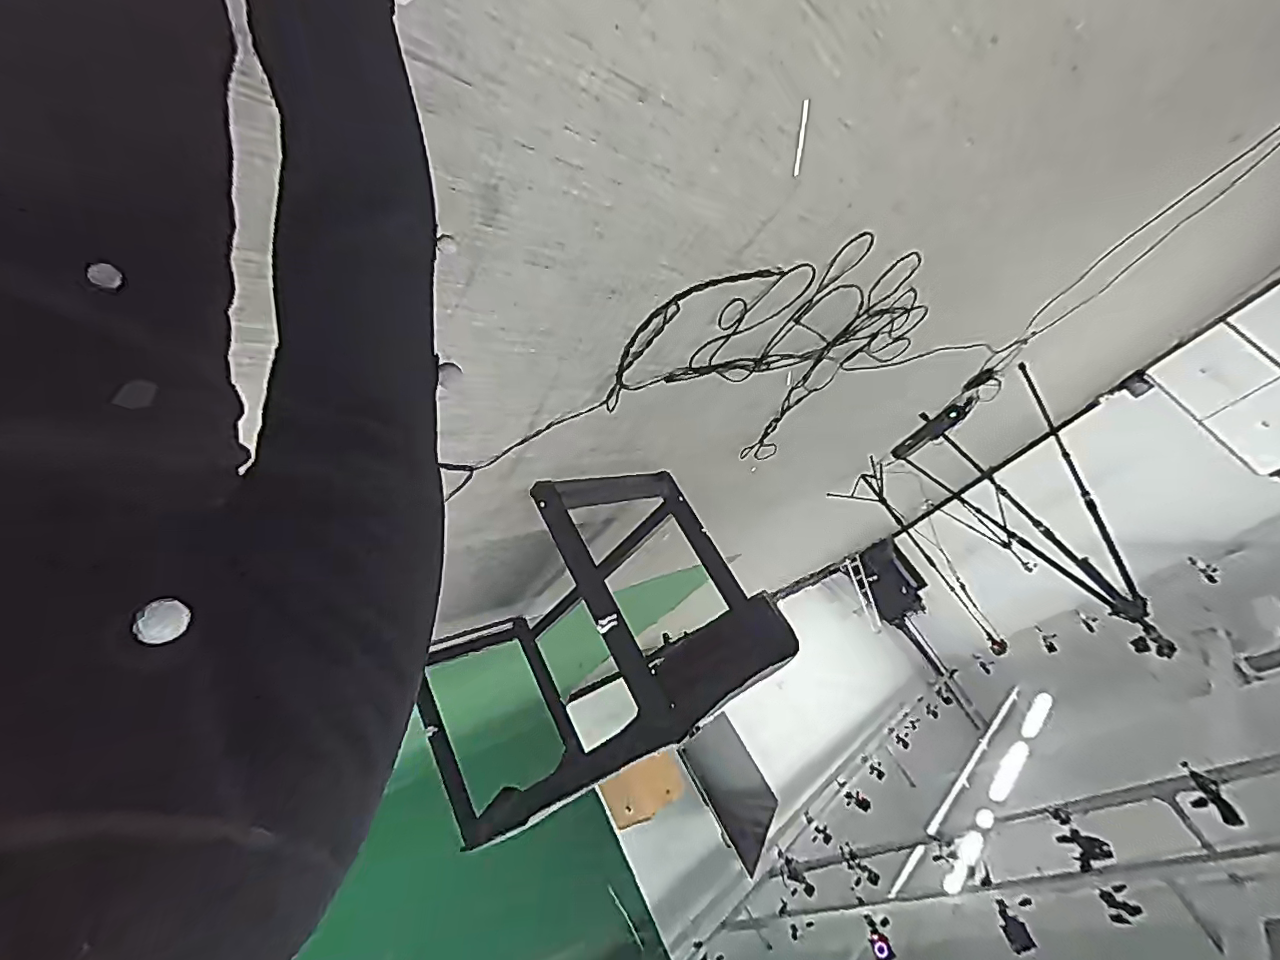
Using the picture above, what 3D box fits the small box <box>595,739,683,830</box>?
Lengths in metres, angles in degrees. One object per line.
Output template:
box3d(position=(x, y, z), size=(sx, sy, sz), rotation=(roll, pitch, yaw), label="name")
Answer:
box3d(position=(-0.010, 0.913, 1.635), size=(0.168, 0.176, 0.179), rotation=(-7, 149, -45), label="small box")
